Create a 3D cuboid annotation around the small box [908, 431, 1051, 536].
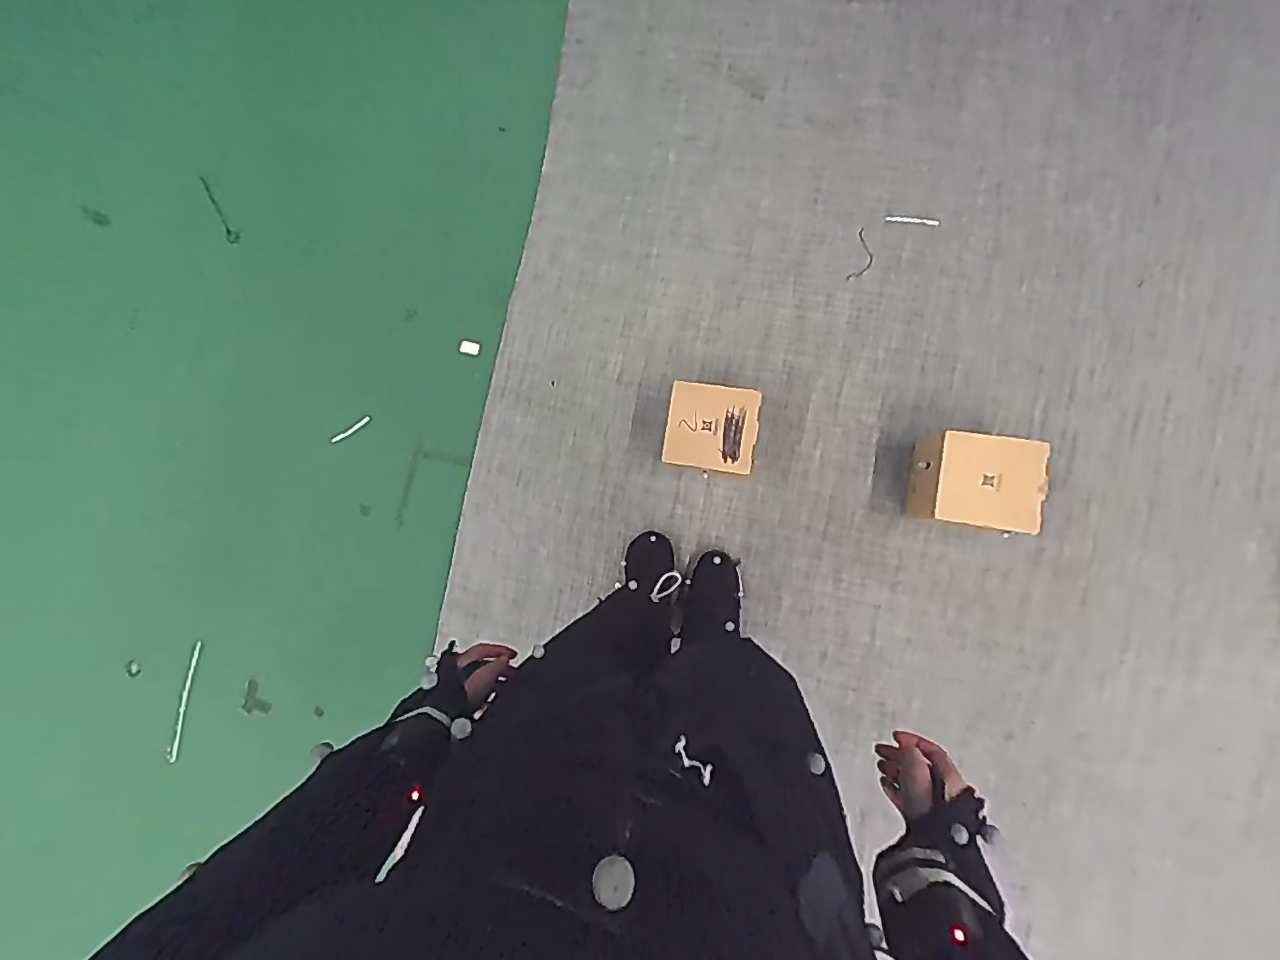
[{"bbox_3d":[0.632,0.011,1.029,0.179,0.176,0.168,8,88,9],"label":"small box"}]
